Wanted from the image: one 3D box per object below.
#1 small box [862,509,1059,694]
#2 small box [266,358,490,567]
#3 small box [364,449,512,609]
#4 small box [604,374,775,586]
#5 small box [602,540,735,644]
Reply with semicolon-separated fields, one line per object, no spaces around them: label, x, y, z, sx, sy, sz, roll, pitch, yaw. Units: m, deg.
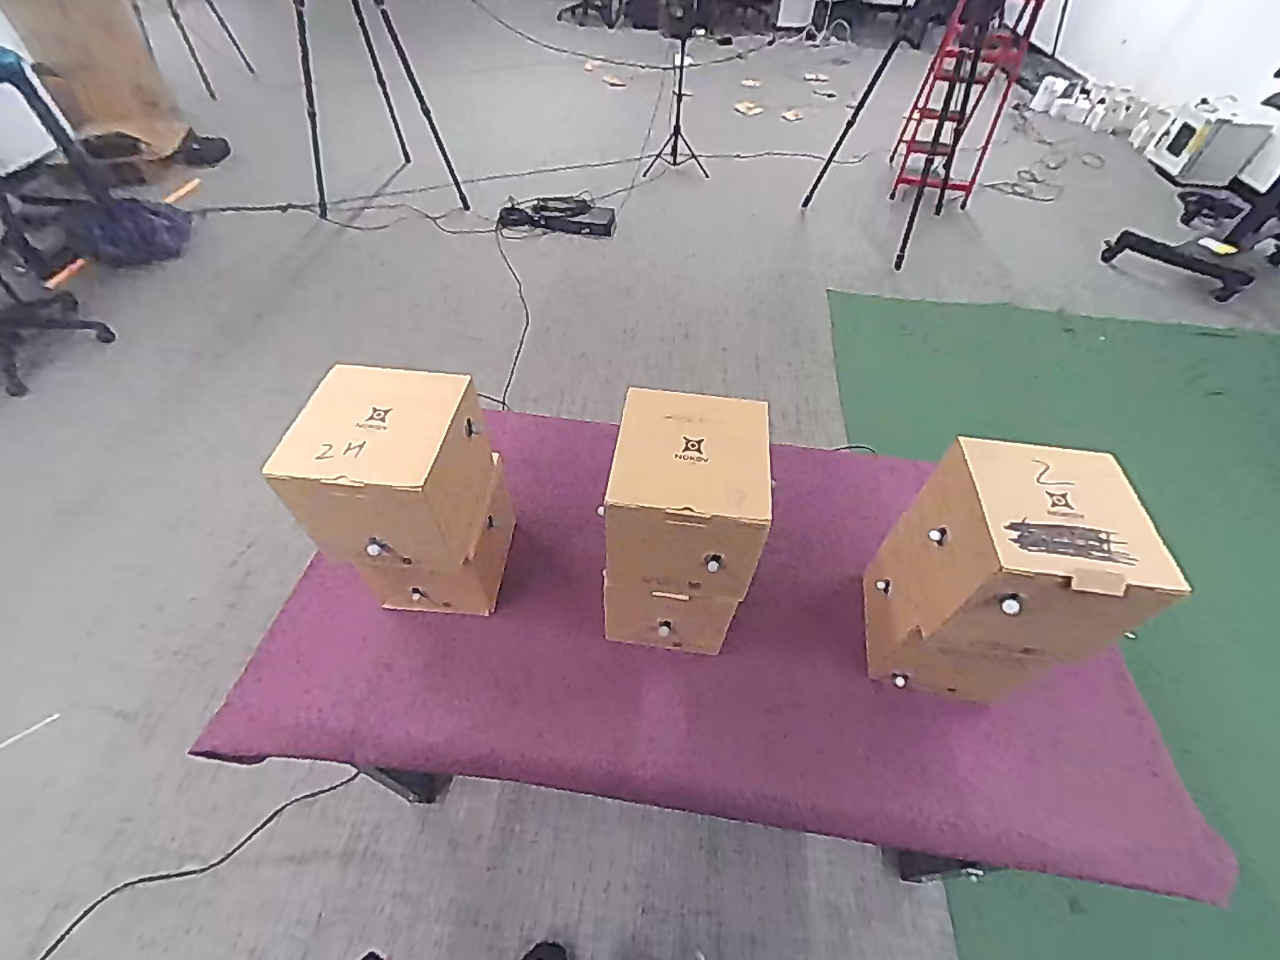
small box;0.416;0.170;0.739;0.168;0.176;0.179;11;50;6
small box;-0.287;-0.019;0.646;0.168;0.176;0.179;5;52;1
small box;-0.290;0.067;0.789;0.168;0.176;0.179;4;52;0
small box;0.056;0.004;0.624;0.168;0.176;0.179;7;51;3
small box;0.042;0.117;0.767;0.168;0.176;0.179;4;50;2
